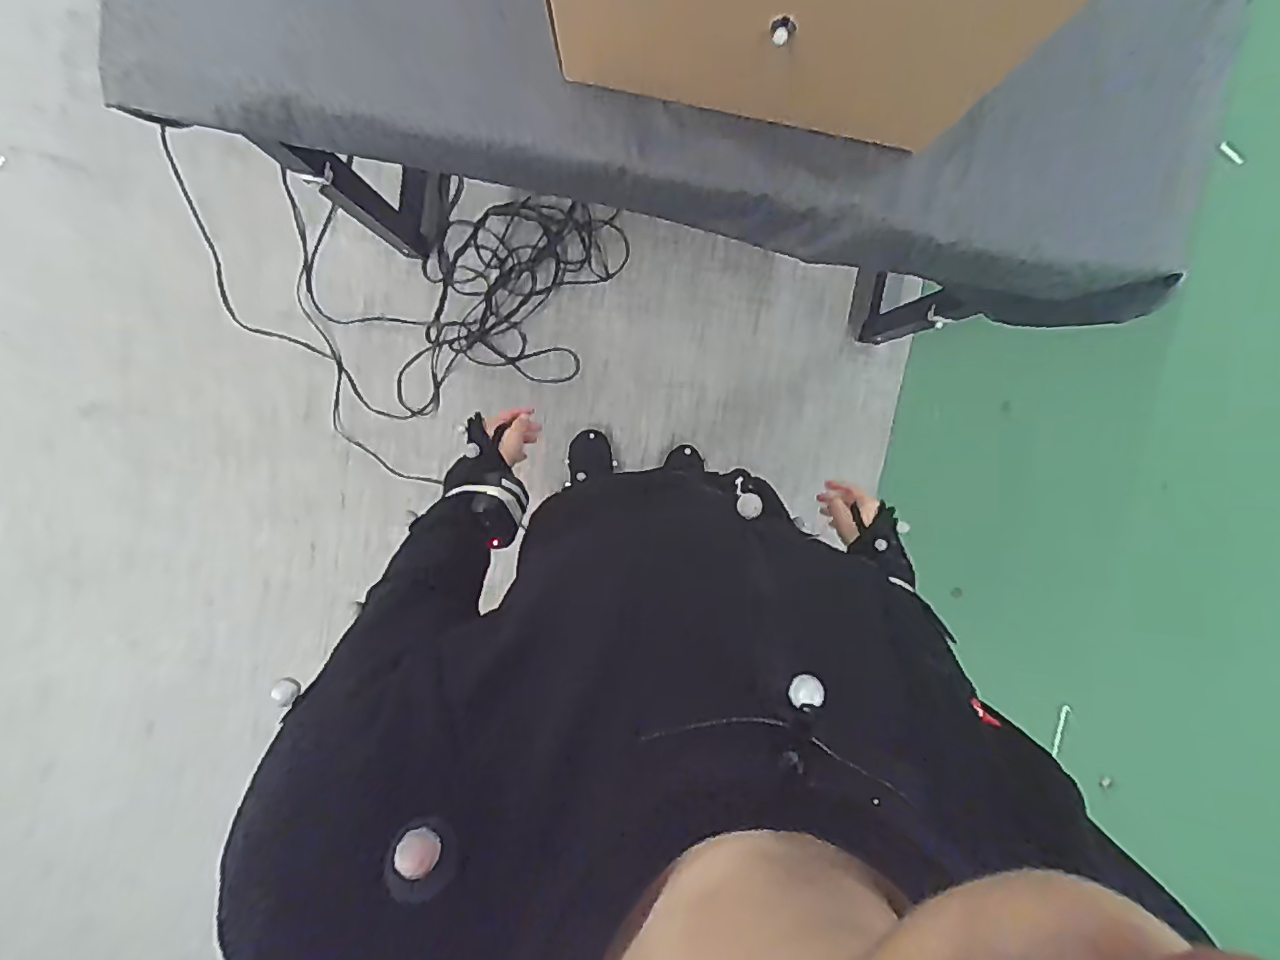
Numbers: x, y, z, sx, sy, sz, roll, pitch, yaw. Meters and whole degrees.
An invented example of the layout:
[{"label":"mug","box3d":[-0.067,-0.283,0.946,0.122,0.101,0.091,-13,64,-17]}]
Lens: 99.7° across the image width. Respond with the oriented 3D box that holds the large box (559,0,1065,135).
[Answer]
[{"label":"large box","box3d":[0.146,-0.539,0.437,0.408,0.320,0.320,9,96,-2]}]
